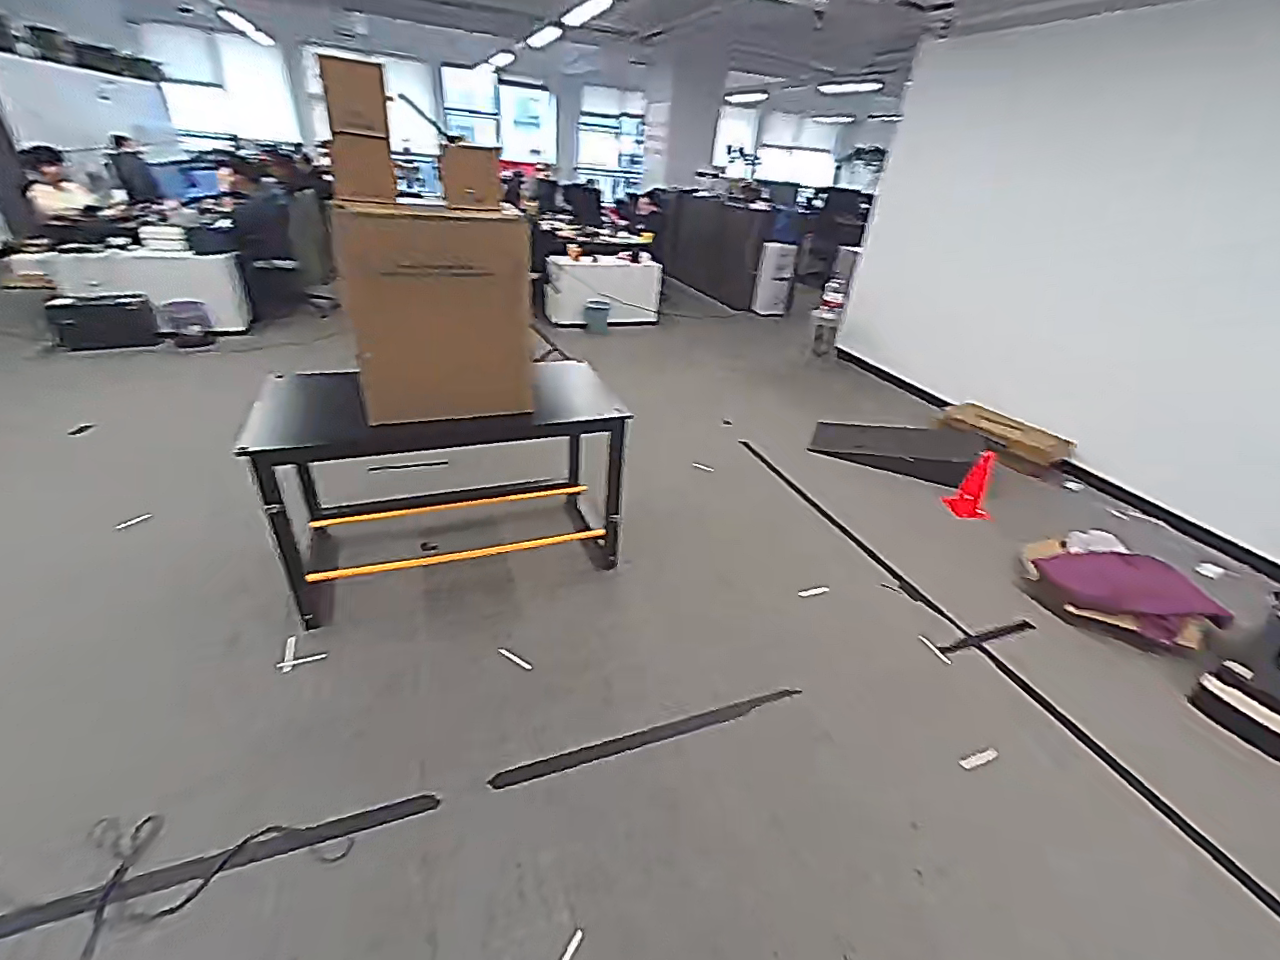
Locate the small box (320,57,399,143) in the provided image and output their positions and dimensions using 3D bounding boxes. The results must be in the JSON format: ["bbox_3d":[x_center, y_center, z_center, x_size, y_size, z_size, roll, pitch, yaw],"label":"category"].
[{"bbox_3d":[-0.768,-1.040,1.494,0.168,0.176,0.179,-6,33,-20],"label":"small box"}]

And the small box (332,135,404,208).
[{"bbox_3d":[-0.793,-0.906,1.589,0.168,0.176,0.179,-7,33,-22],"label":"small box"}]

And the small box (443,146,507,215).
[{"bbox_3d":[-0.506,-0.919,1.658,0.168,0.176,0.179,-9,34,-18],"label":"small box"}]
